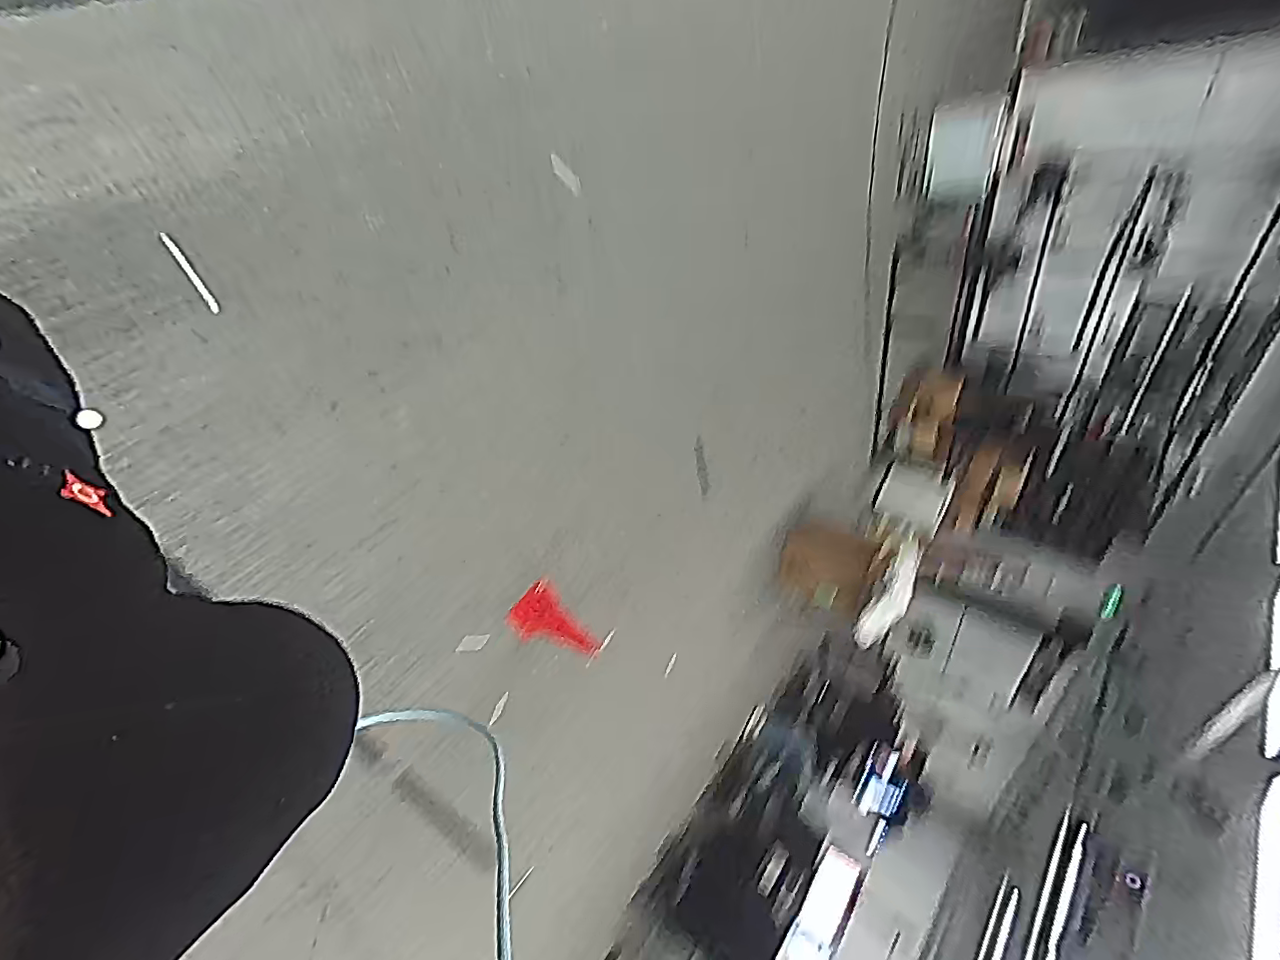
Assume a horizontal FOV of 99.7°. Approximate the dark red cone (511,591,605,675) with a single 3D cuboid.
[{"bbox_3d":[-0.278,0.597,1.995,0.201,0.394,0.202,-47,139,-25],"label":"dark red cone"}]
